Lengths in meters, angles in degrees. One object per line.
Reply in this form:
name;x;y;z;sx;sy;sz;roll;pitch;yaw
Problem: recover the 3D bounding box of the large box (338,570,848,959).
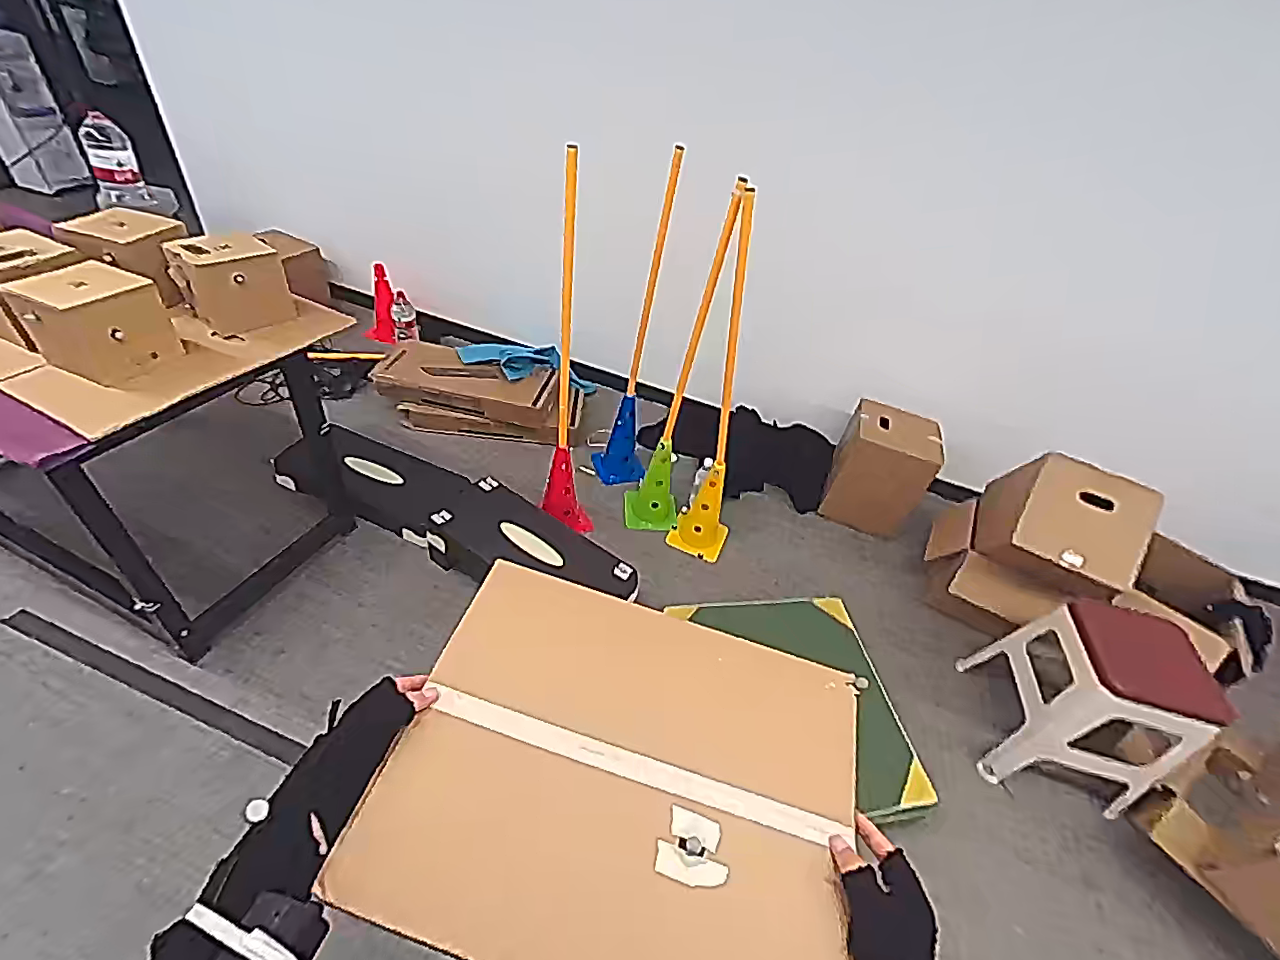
large box;-0.029;0.360;0.605;0.408;0.320;0.320;18;48;4
